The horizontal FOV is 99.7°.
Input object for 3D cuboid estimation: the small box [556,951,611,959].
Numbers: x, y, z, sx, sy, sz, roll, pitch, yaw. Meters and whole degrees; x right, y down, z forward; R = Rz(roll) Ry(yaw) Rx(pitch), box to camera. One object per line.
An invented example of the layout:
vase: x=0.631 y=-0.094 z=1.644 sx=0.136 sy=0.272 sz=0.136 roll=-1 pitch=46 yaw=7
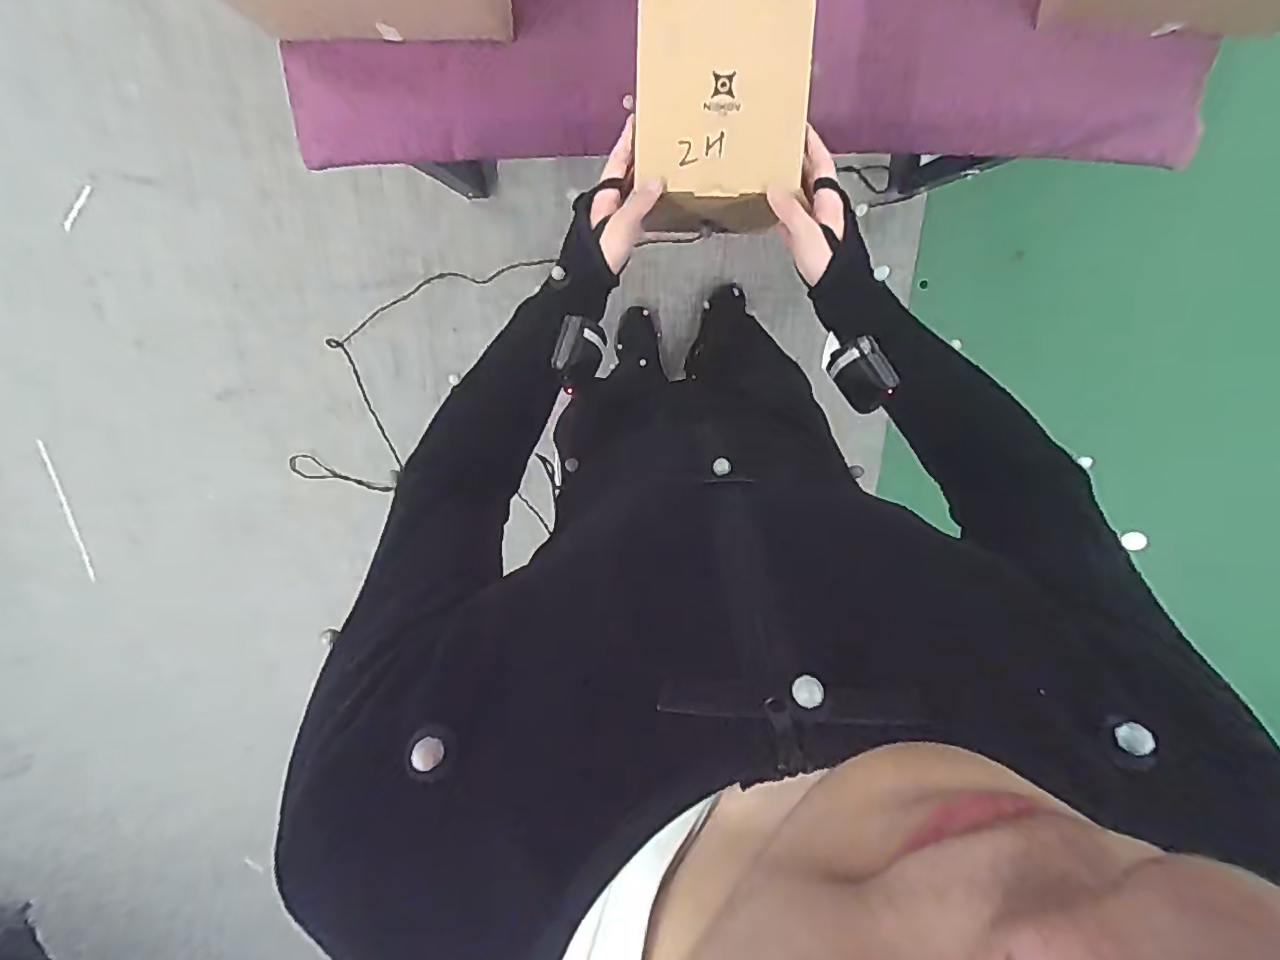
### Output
small box: x=-0.173 y=1.606 z=1.677 sx=0.179 sy=0.176 sz=0.168 roll=-6 pitch=110 yaw=2

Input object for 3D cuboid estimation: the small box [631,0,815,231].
small box: x=0.078 y=-0.387 z=0.589 sx=0.168 sy=0.176 sz=0.179 roll=2 pitch=103 yaw=2
